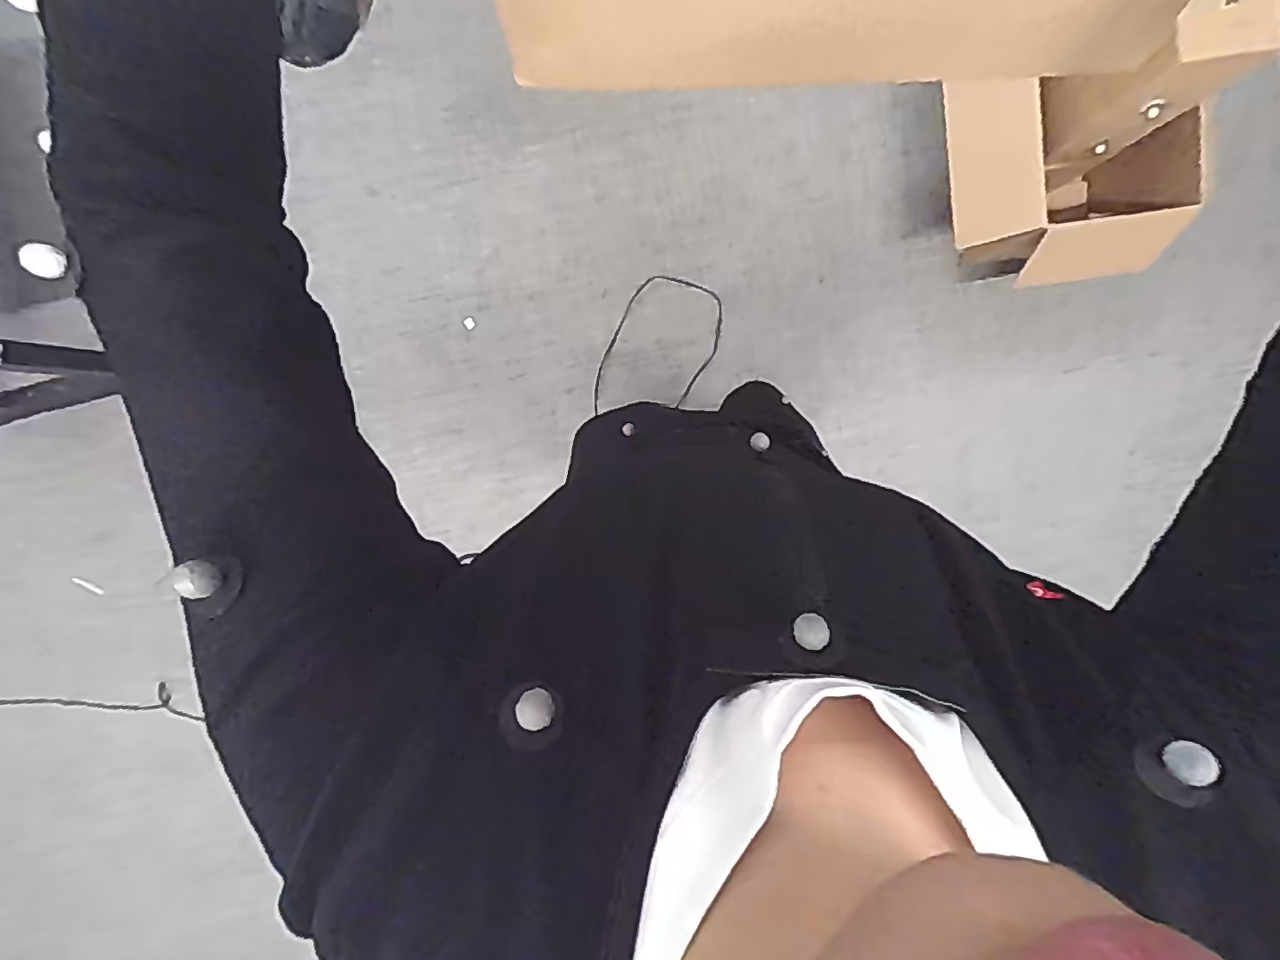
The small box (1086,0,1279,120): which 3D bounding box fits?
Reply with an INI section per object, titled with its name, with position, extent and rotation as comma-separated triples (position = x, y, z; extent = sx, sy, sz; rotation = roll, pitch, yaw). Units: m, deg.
[small box]
position = 0.903, -0.757, 0.917
extent = 0.168, 0.176, 0.179
rotation = -8, 95, 3
